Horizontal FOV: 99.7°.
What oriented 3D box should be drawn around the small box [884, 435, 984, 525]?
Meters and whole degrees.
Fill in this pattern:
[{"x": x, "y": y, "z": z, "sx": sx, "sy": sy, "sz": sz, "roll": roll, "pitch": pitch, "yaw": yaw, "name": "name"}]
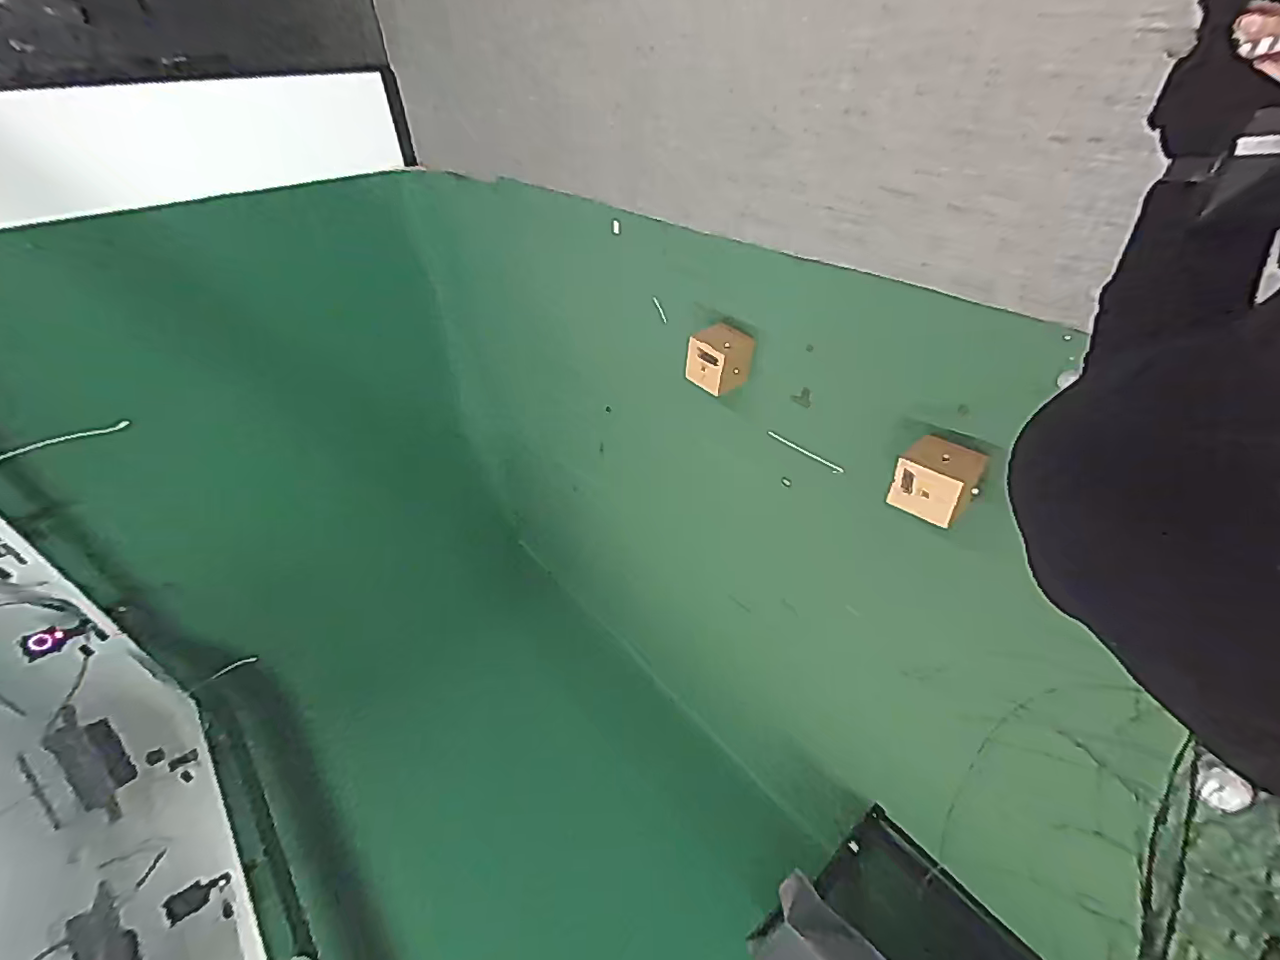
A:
[{"x": 0.836, "y": -0.009, "z": 1.540, "sx": 0.179, "sy": 0.176, "sz": 0.168, "roll": 31, "pitch": 139, "yaw": 36, "name": "small box"}]
